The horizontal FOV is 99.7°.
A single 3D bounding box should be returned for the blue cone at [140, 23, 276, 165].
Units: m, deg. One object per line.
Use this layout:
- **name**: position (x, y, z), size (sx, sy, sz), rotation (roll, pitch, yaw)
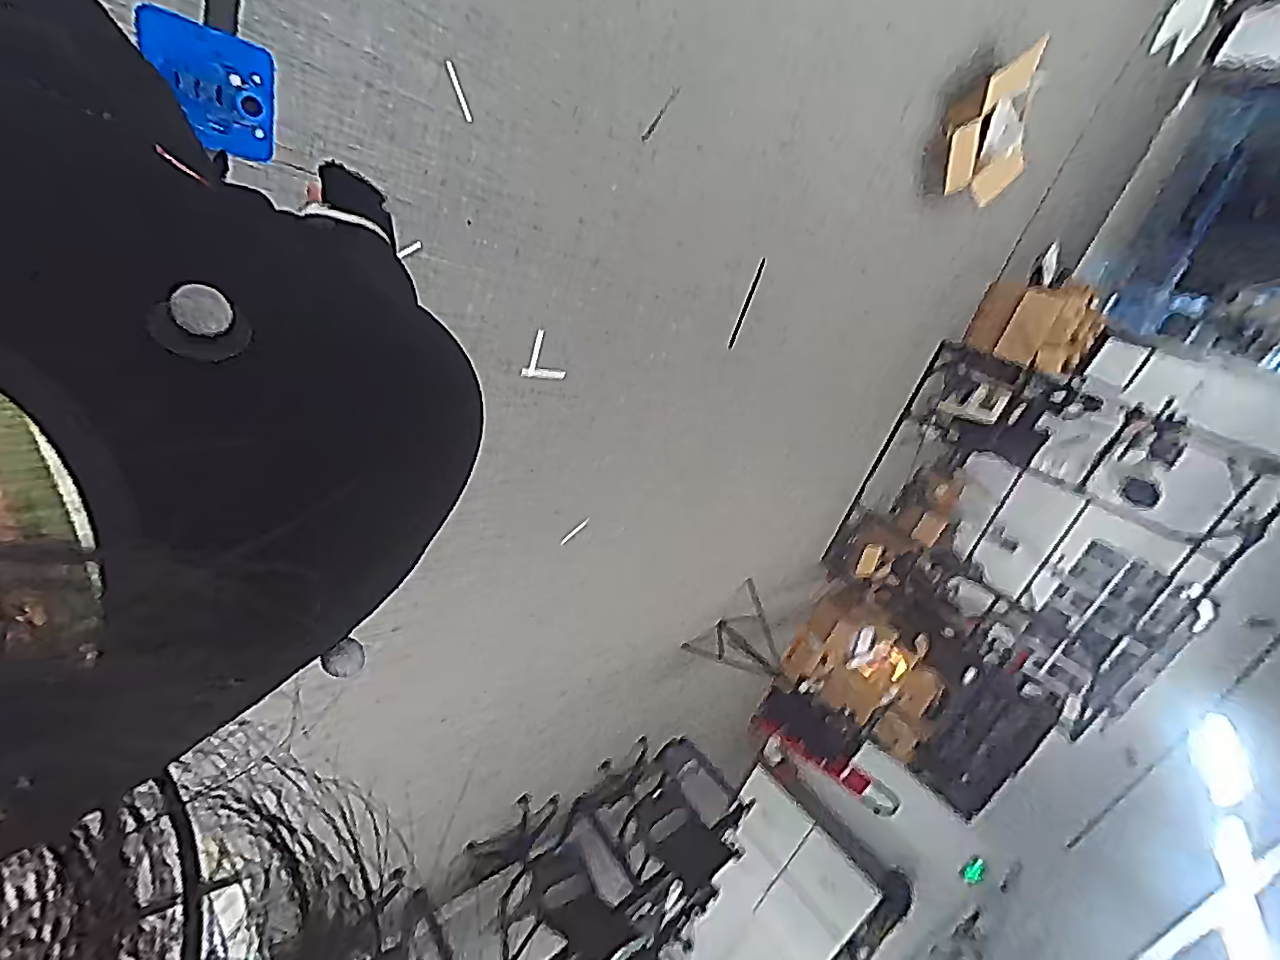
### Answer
- **blue cone**: position (-0.686, -0.623, 0.910), size (0.192, 0.380, 0.193), rotation (-10, 127, -43)
